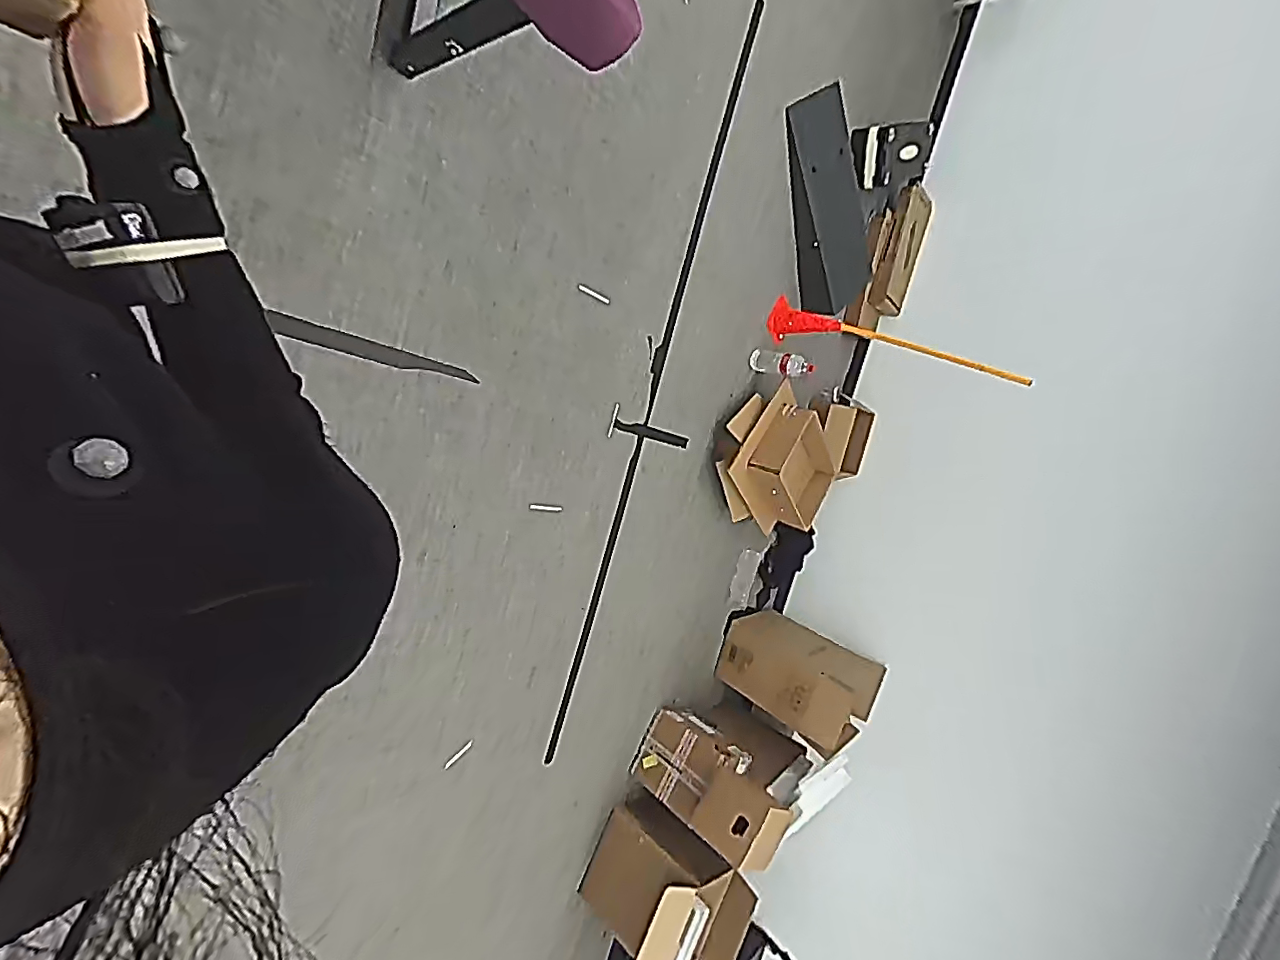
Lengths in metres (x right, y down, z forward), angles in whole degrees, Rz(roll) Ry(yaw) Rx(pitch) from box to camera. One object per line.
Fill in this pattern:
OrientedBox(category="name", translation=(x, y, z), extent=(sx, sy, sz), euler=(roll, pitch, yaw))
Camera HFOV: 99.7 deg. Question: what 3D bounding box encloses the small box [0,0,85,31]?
OrientedBox(category="small box", translation=(-0.344, -0.324, 0.216), extent=(0.168, 0.176, 0.179), euler=(-4, 115, -50))
